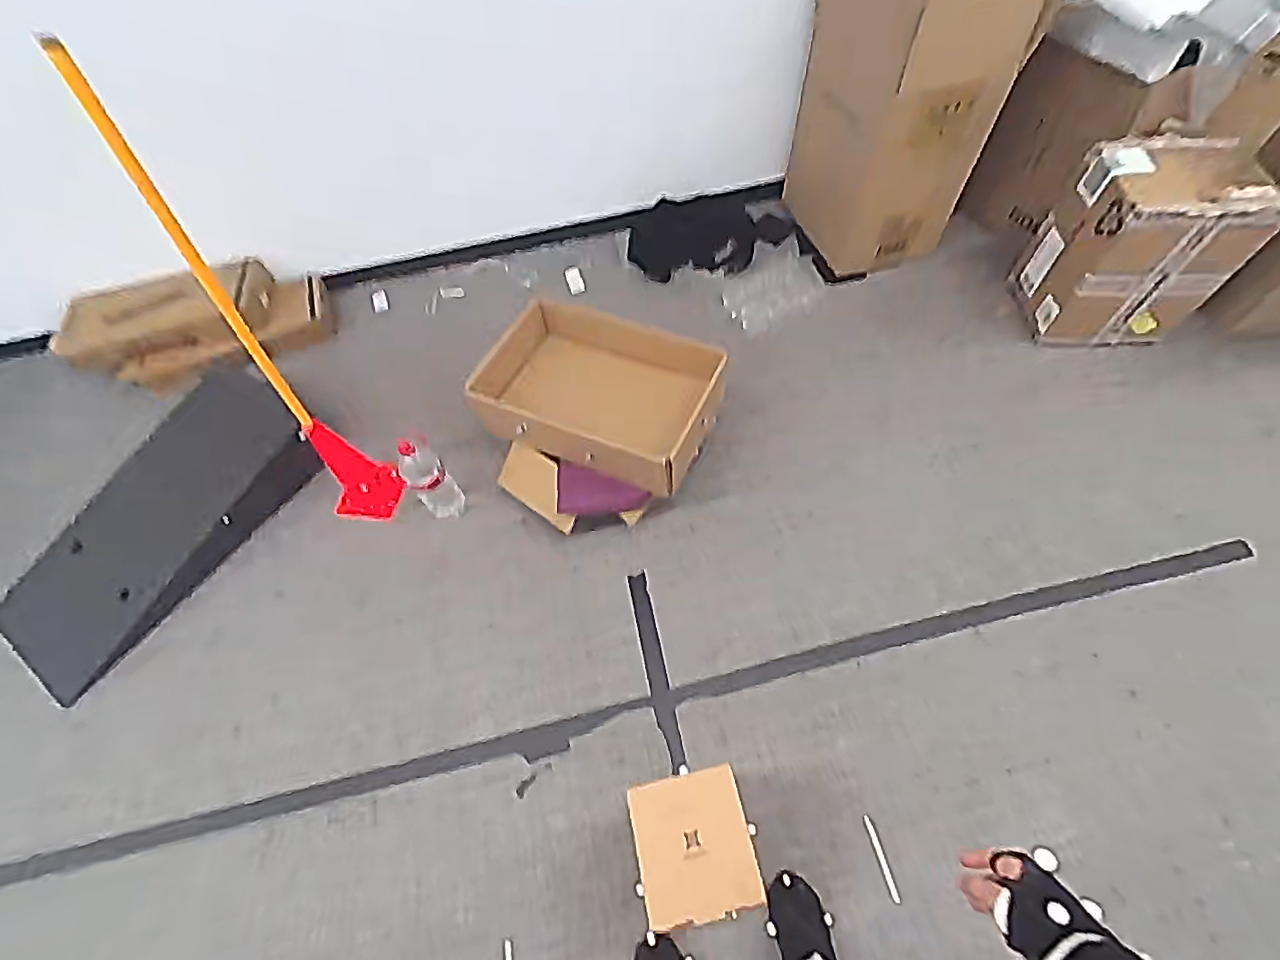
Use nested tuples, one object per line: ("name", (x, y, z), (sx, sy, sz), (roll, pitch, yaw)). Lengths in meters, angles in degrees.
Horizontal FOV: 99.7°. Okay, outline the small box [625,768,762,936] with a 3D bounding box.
("small box", (0.078, 0.569, 0.844), (0.168, 0.176, 0.179), (-12, 57, -4))
